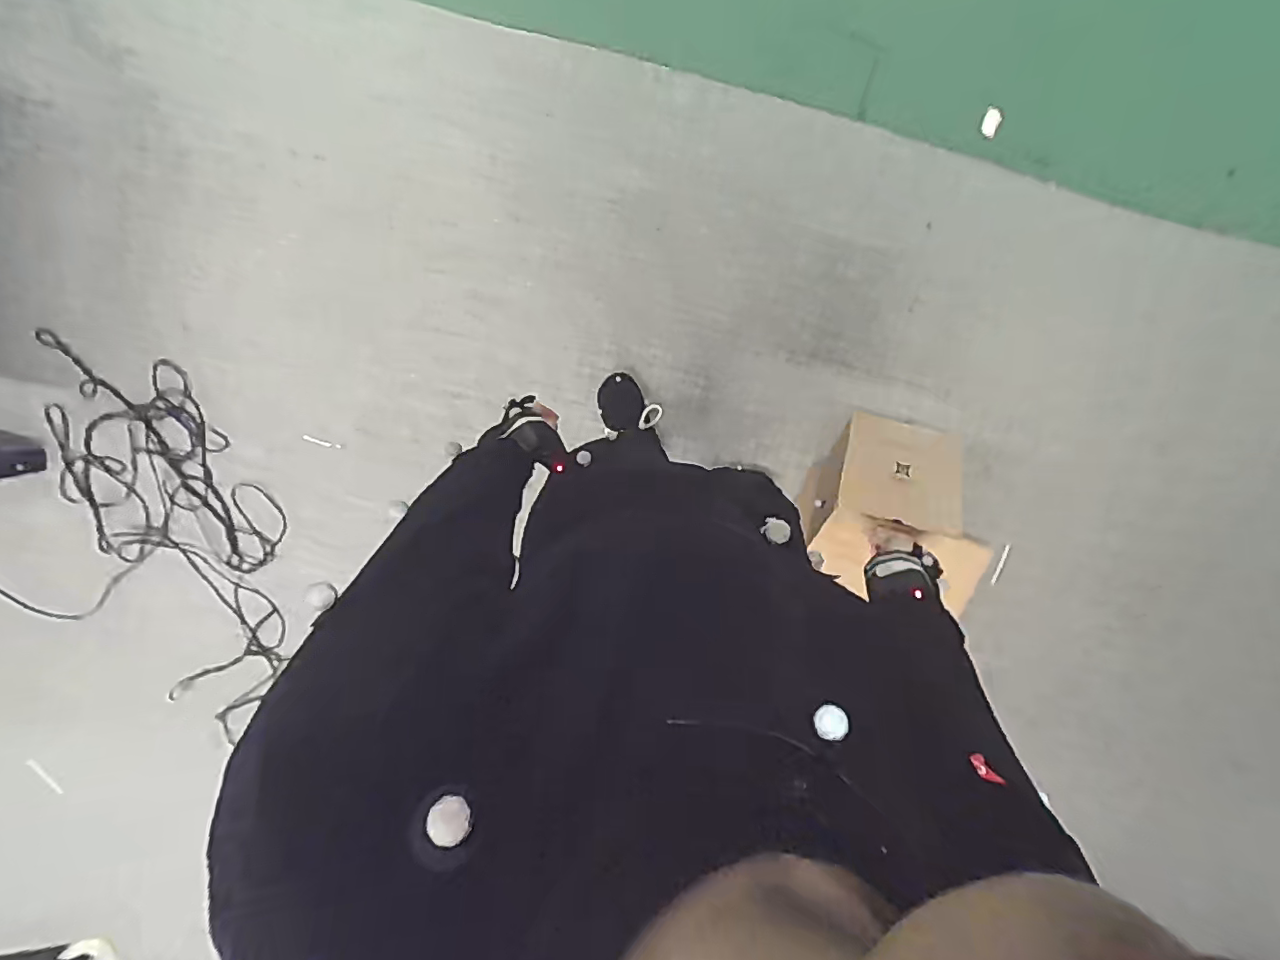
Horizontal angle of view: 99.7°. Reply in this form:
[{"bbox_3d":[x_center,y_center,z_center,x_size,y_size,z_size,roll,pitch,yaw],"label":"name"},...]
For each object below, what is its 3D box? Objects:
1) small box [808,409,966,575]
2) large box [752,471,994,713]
[{"bbox_3d":[0.367,0.025,0.824,0.168,0.176,0.179,16,62,8],"label":"small box"},{"bbox_3d":[0.500,0.236,1.251,0.320,0.320,0.408,21,103,-3],"label":"large box"}]
